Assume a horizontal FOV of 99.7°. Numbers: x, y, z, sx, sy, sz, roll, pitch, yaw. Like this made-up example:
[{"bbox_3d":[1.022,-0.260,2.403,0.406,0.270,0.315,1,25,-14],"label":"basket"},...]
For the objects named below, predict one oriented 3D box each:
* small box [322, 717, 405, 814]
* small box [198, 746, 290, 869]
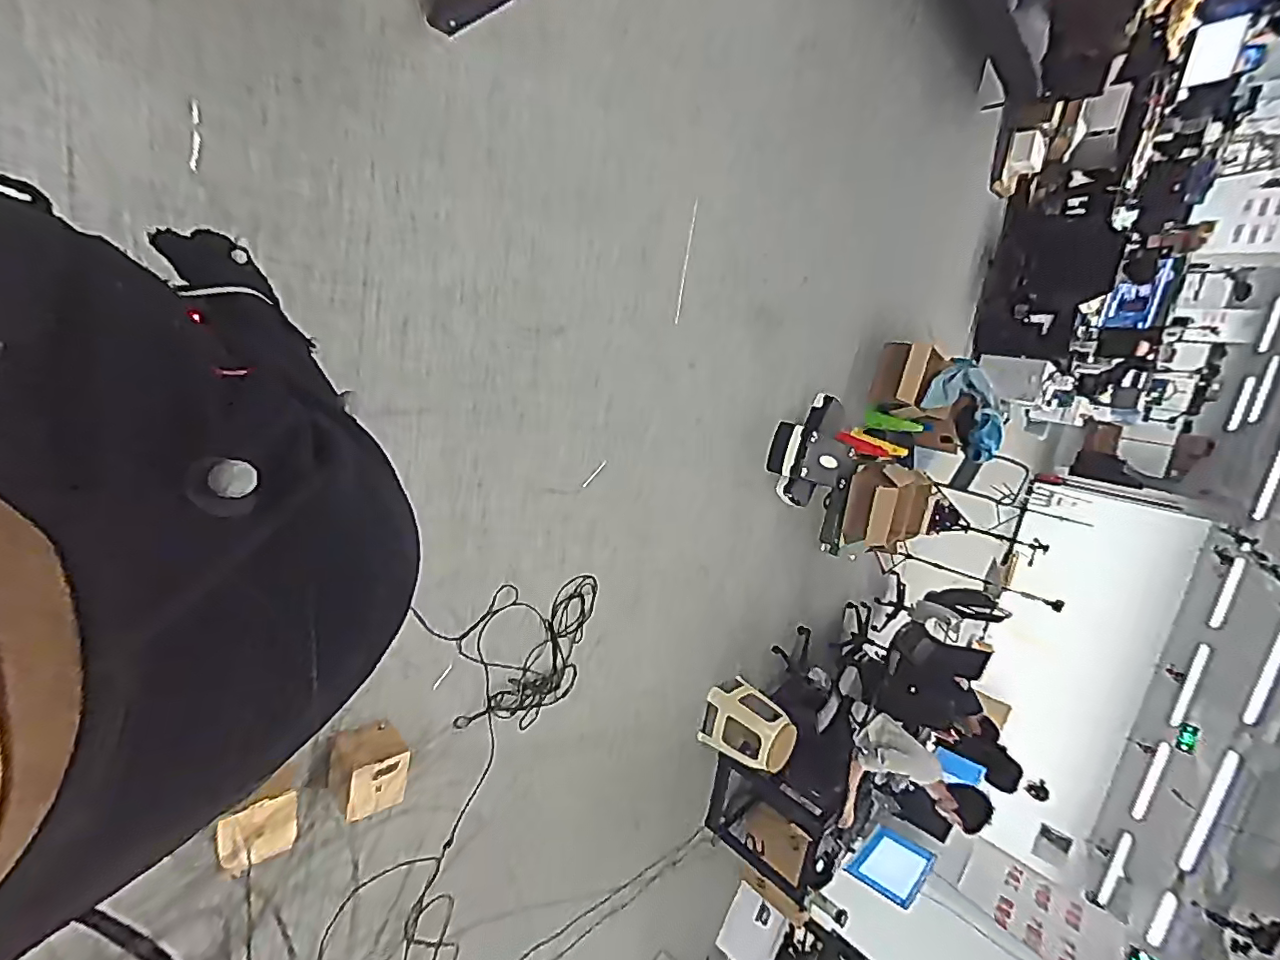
[{"bbox_3d":[-0.831,0.840,1.618,0.168,0.176,0.179,2,104,-48],"label":"small box"},{"bbox_3d":[-1.027,0.838,1.403,0.168,0.176,0.179,-5,108,-47],"label":"small box"}]
